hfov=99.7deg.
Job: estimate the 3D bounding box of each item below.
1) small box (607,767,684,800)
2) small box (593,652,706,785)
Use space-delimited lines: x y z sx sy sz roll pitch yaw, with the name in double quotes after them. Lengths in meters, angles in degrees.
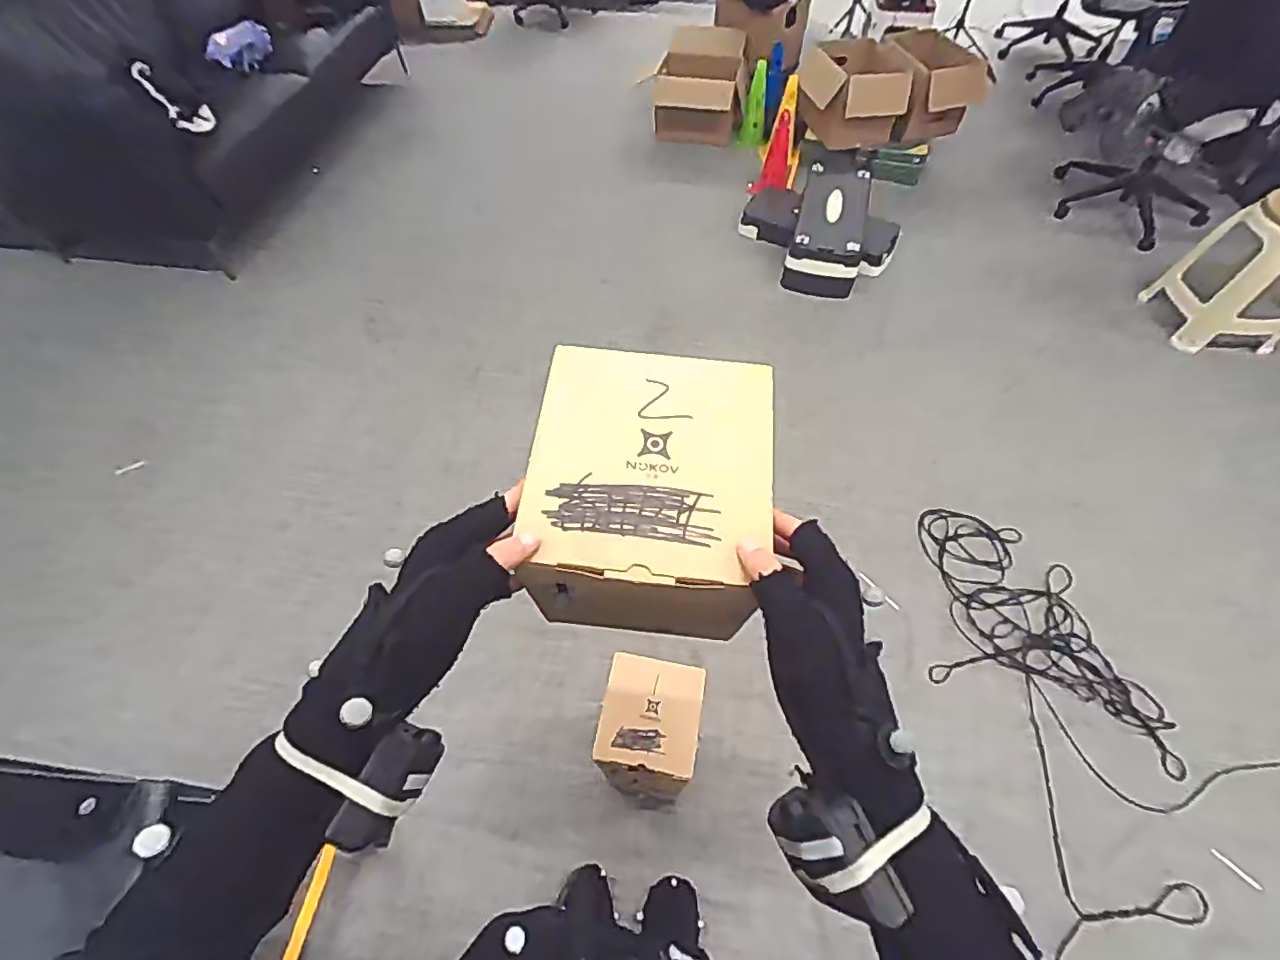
0.029 0.616 1.245 0.168 0.176 0.179 11 57 9 "small box"
0.021 0.434 0.974 0.168 0.176 0.179 9 57 7 "small box"
